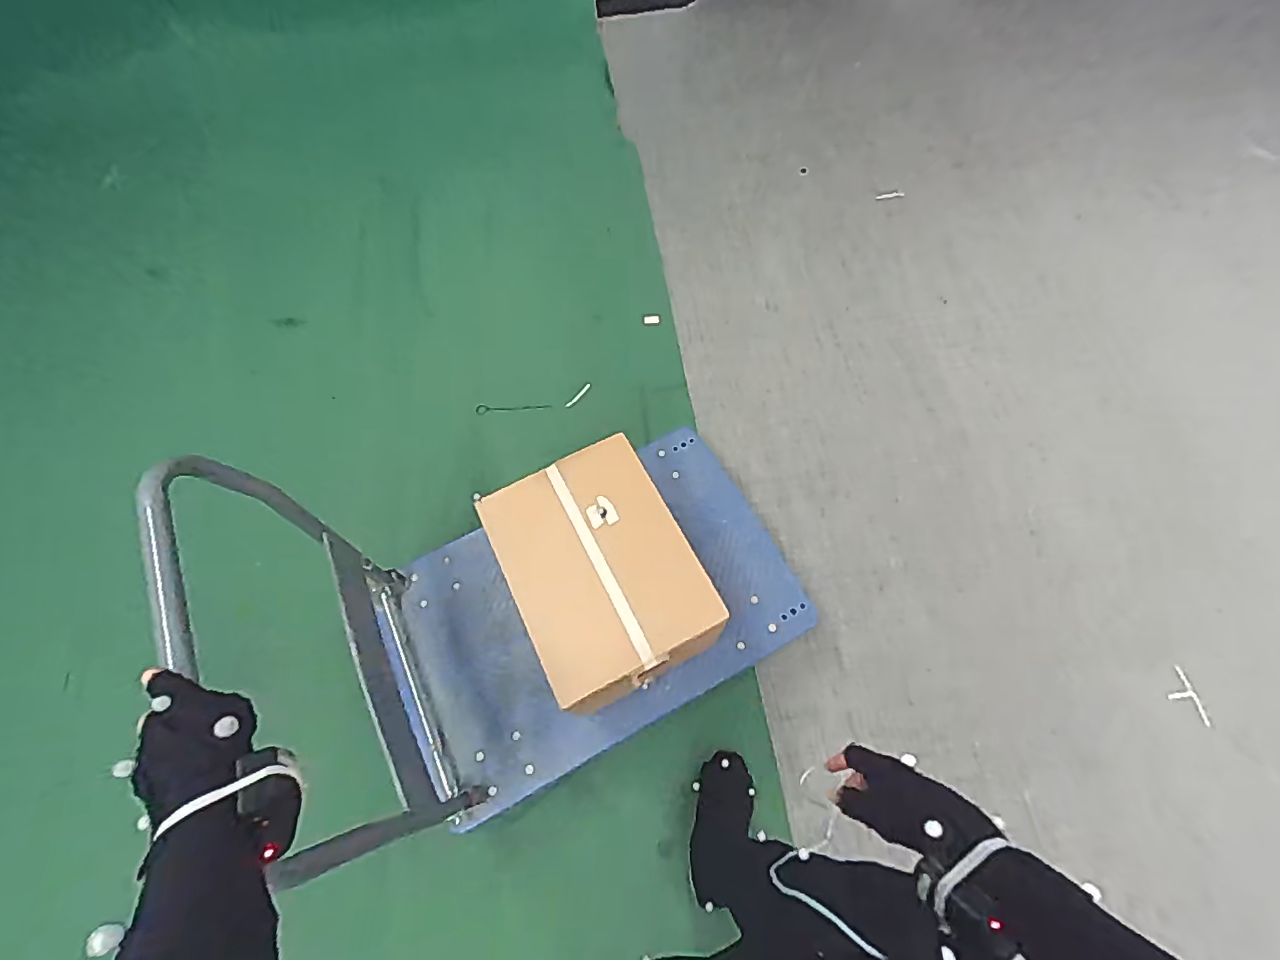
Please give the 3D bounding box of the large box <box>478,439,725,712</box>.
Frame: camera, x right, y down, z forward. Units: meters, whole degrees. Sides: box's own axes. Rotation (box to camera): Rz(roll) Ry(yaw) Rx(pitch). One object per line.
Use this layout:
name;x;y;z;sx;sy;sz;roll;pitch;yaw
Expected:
large box;-0.069;0.202;1.095;0.320;0.320;0.408;-26;65;-9
